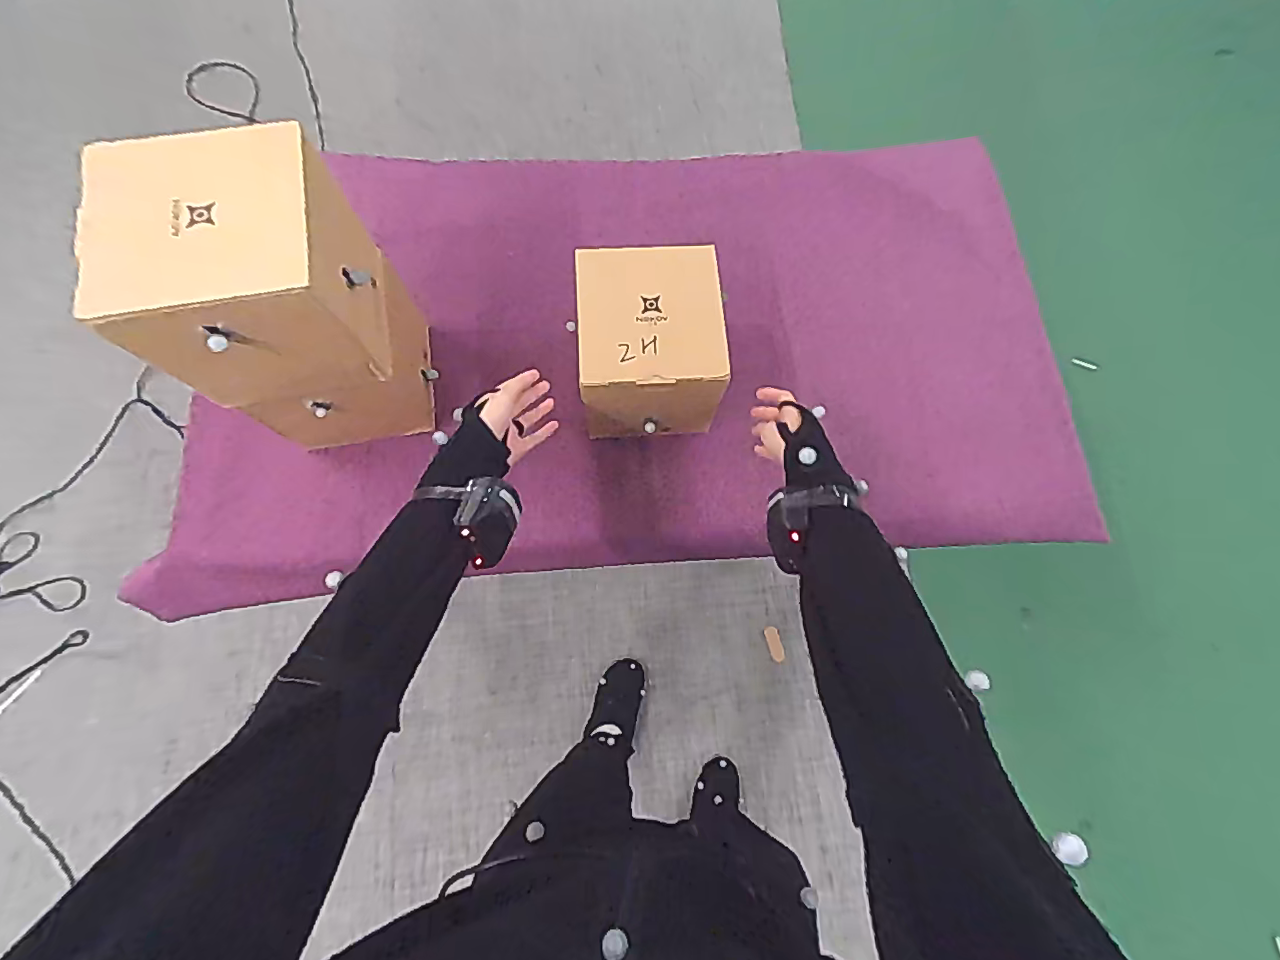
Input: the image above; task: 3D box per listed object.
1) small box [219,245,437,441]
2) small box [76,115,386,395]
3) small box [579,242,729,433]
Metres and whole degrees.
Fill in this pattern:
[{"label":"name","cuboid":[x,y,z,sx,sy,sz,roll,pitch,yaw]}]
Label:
[{"label":"small box","cuboid":[-0.368,-0.156,0.665,0.179,0.176,0.168,-9,76,-5]},{"label":"small box","cuboid":[-0.357,-0.195,0.508,0.179,0.176,0.168,-11,76,-4]},{"label":"small box","cuboid":[0.009,-0.171,0.681,0.168,0.176,0.179,-2,75,-2]}]
